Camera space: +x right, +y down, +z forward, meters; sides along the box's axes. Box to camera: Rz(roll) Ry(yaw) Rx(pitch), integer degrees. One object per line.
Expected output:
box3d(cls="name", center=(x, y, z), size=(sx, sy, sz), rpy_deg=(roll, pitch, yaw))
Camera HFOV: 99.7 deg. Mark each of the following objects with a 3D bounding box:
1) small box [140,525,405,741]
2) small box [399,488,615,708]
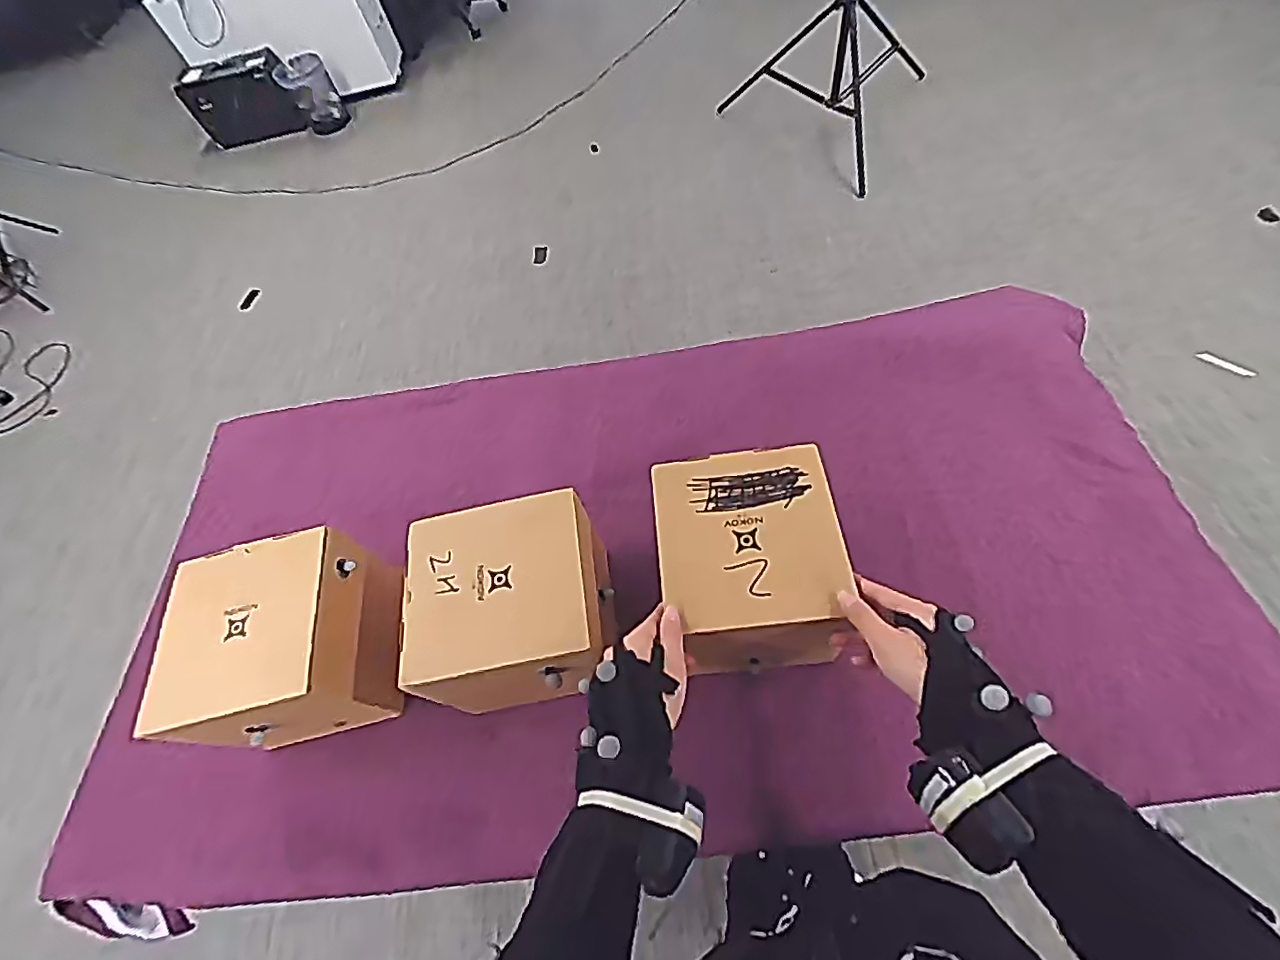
box3d(cls="small box", center=(-0.379, 0.178, 0.598), size=(0.168, 0.176, 0.179), rpy_deg=(-15, 58, 1))
box3d(cls="small box", center=(-0.128, 0.133, 0.578), size=(0.179, 0.176, 0.168), rpy_deg=(-12, 58, 2))
